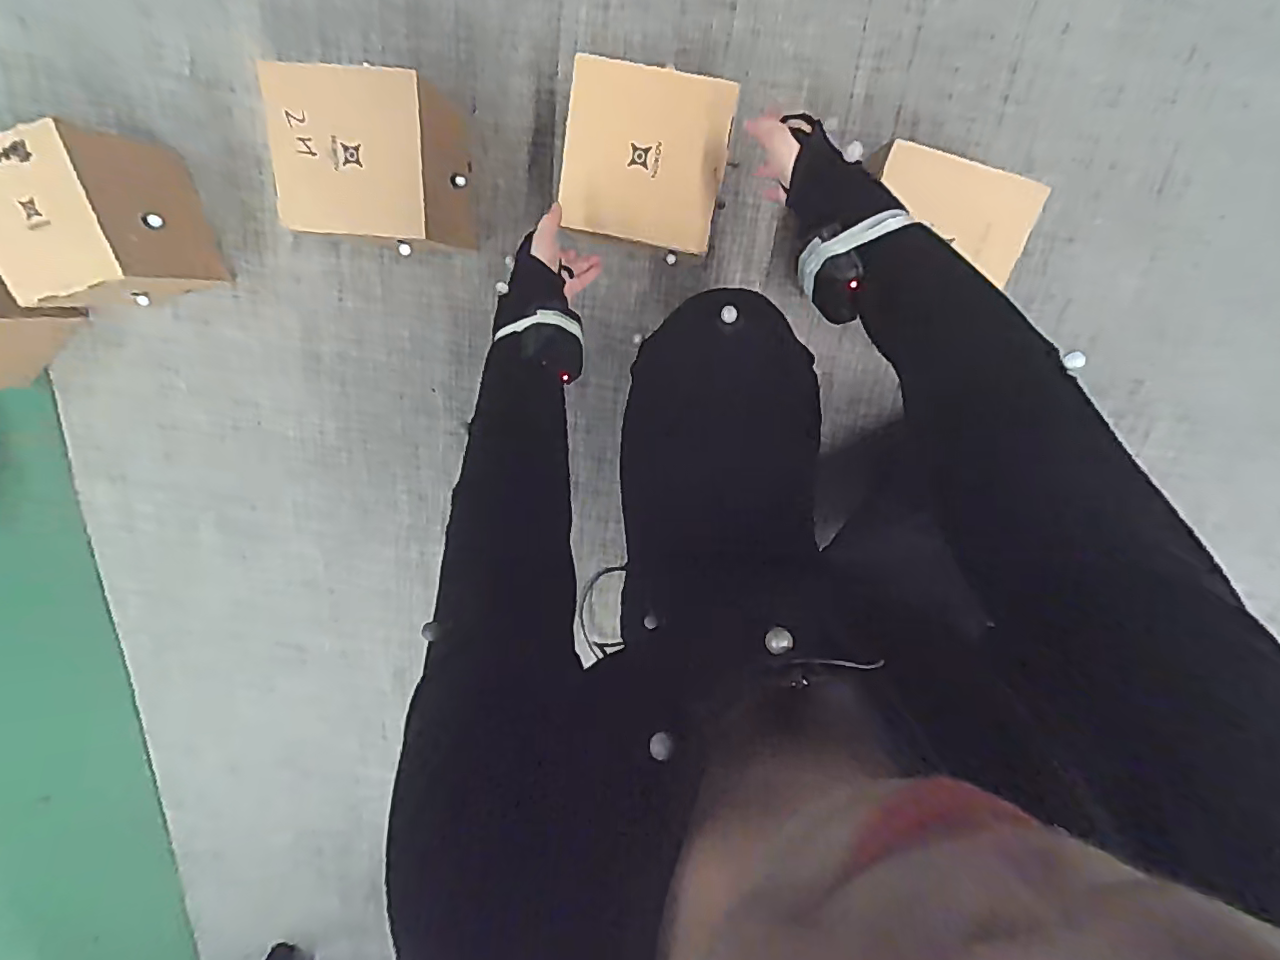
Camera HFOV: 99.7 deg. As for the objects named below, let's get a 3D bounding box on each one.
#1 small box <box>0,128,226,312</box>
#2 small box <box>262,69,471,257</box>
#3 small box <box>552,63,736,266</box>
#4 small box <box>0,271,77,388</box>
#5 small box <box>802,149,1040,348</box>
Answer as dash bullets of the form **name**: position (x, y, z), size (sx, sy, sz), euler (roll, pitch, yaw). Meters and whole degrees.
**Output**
- **small box**: position (-0.713, -0.333, 0.723), size (0.168, 0.176, 0.179), euler (-10, 108, 8)
- **small box**: position (-0.320, -0.378, 0.675), size (0.179, 0.176, 0.168), euler (5, 108, 2)
- **small box**: position (0.005, -0.363, 0.657), size (0.179, 0.176, 0.168), euler (11, 109, 0)
- **small box**: position (-0.992, -0.238, 0.777), size (0.179, 0.176, 0.168), euler (-36, 102, 14)
- **small box**: position (0.319, -0.272, 0.663), size (0.179, 0.176, 0.168), euler (17, 110, -2)
